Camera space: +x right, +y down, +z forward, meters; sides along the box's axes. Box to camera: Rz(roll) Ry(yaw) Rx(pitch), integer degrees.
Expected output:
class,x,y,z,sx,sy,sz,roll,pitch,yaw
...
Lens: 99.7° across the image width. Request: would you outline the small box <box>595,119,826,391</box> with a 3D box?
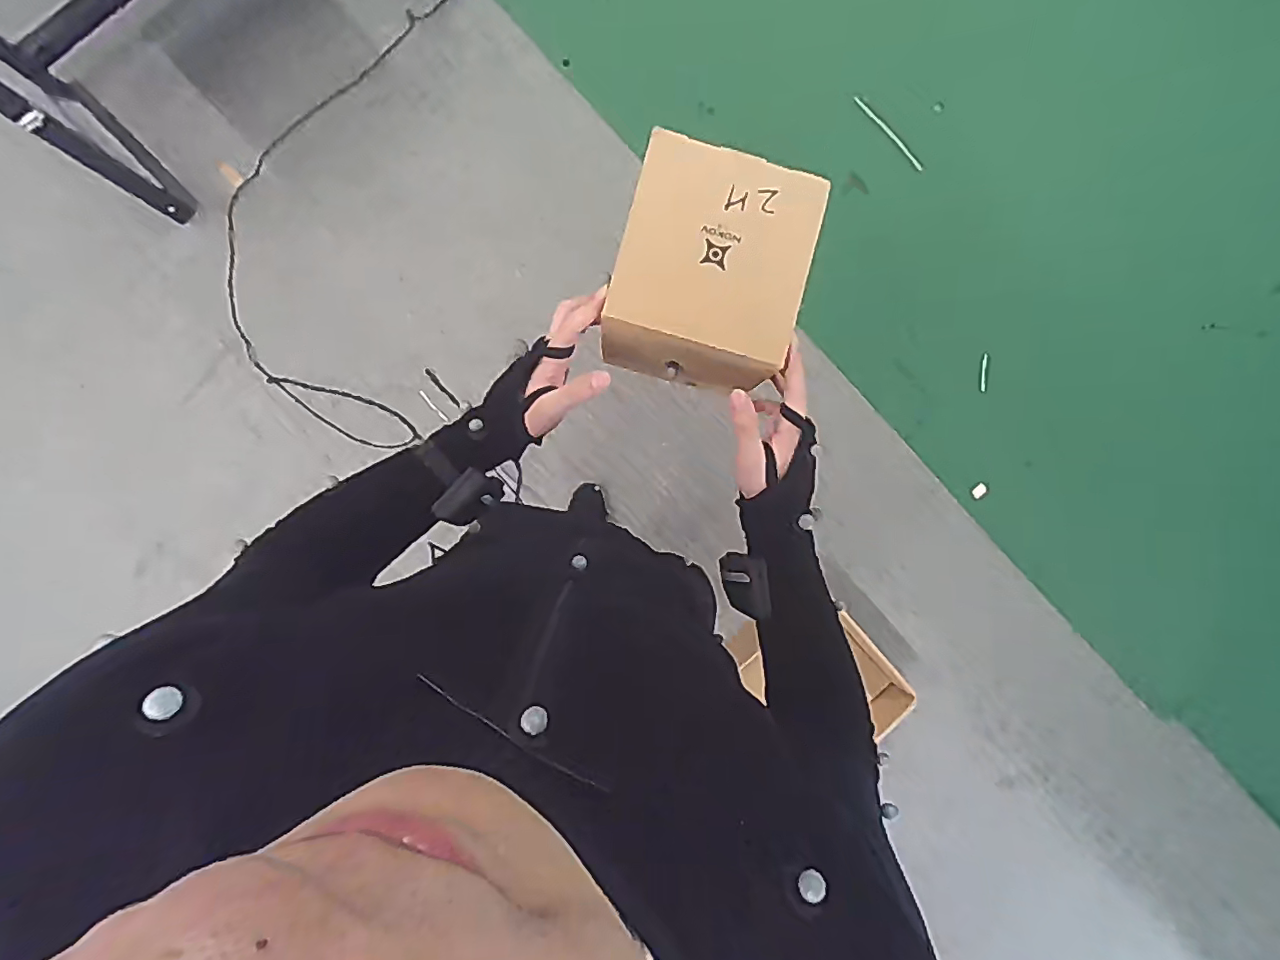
class,x,y,z,sx,sy,sz,roll,pitch,yaw
small box,0.058,-0.202,0.542,0.168,0.176,0.179,15,87,-4
